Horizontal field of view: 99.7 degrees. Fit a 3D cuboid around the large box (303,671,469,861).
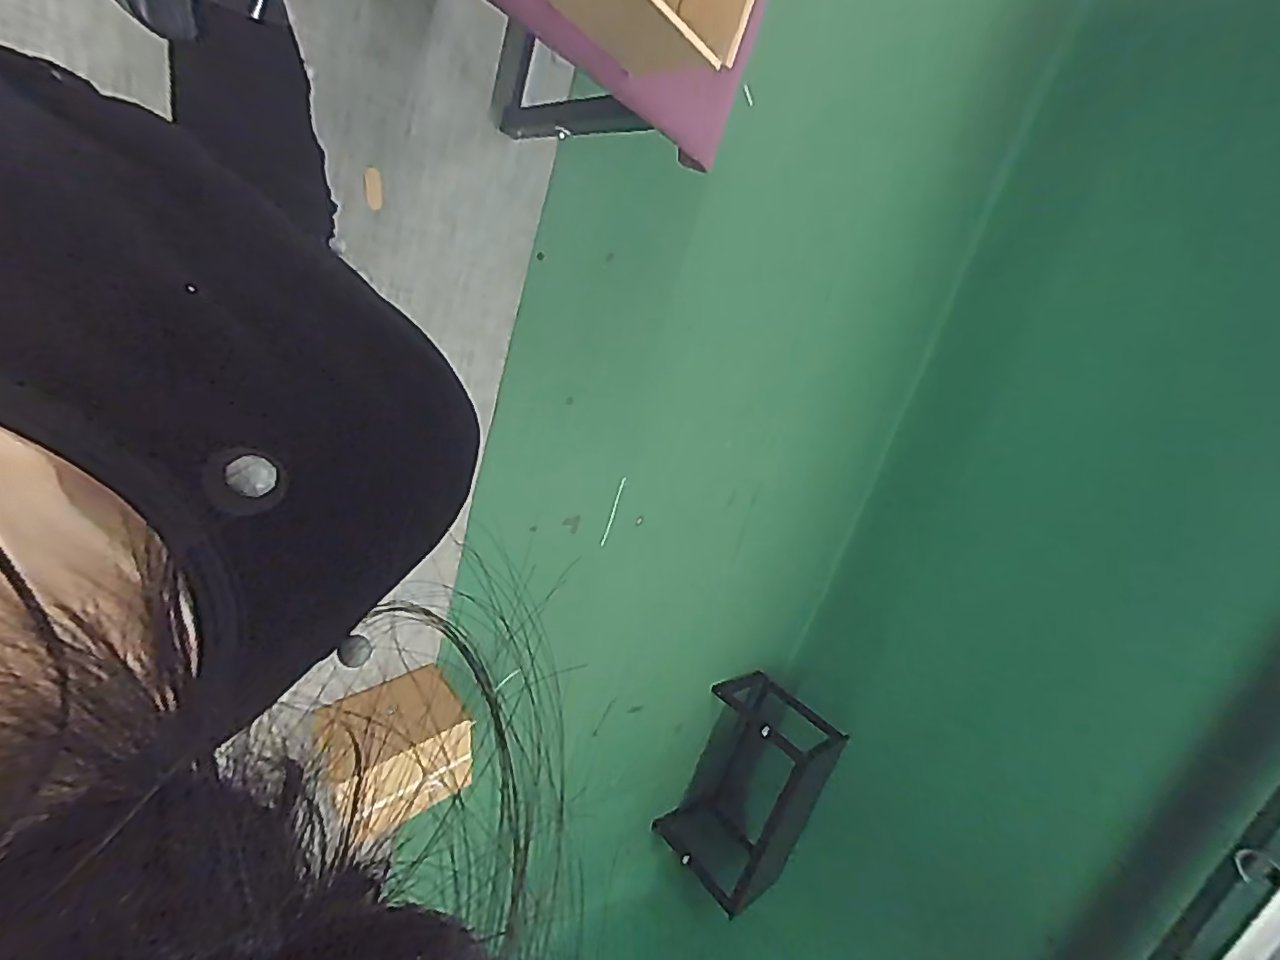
[{"bbox_3d":[-0.821,0.906,1.770,0.408,0.320,0.320,-15,122,-41],"label":"large box"}]
